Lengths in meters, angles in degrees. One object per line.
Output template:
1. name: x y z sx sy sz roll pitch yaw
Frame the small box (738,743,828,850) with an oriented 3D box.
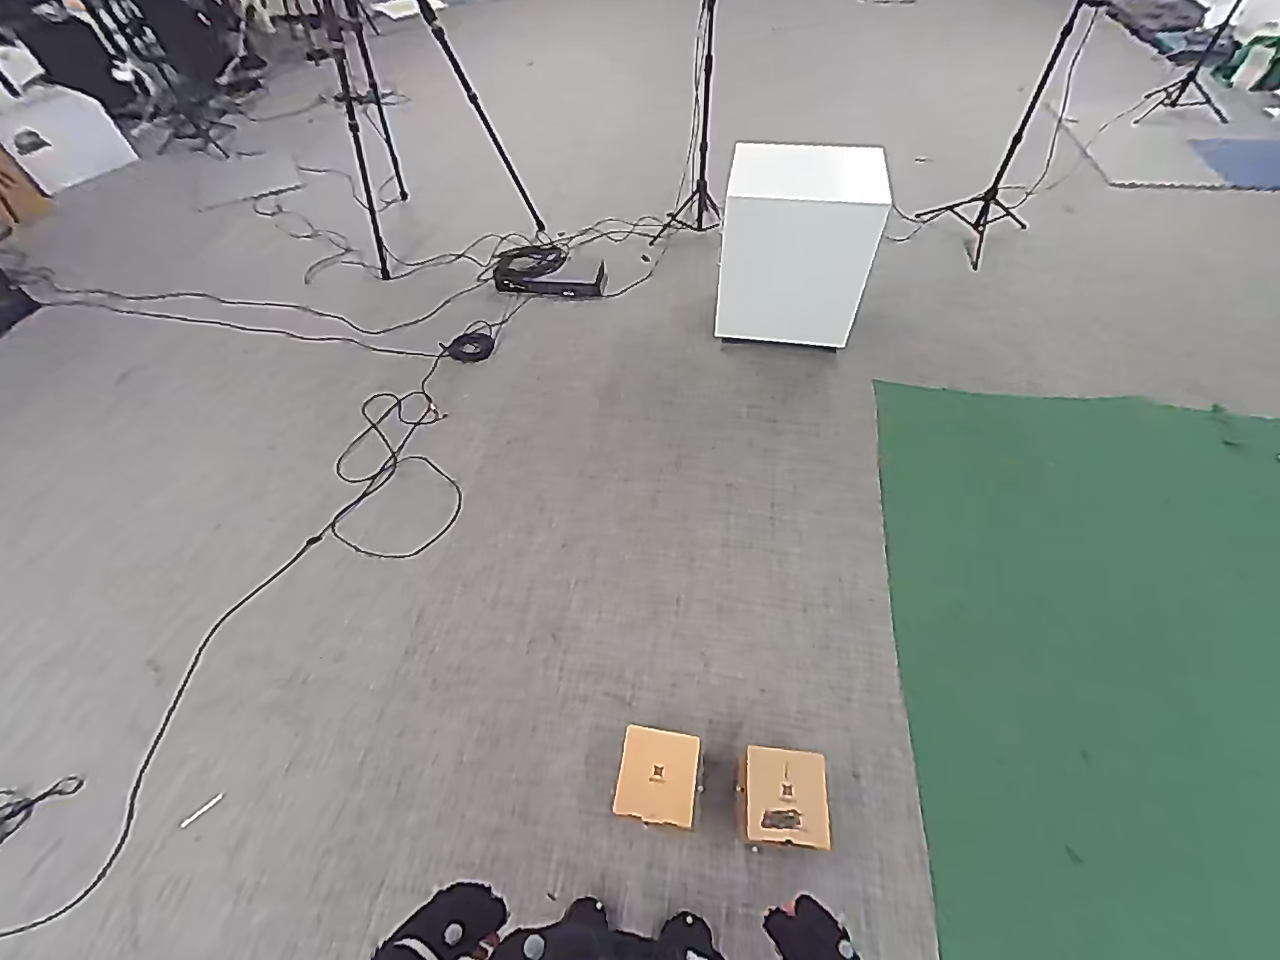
1. small box: 0.307 0.696 1.185 0.168 0.176 0.179 4 53 6

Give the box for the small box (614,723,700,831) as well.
1. small box: 0.040 0.671 1.219 0.168 0.176 0.179 7 55 8
